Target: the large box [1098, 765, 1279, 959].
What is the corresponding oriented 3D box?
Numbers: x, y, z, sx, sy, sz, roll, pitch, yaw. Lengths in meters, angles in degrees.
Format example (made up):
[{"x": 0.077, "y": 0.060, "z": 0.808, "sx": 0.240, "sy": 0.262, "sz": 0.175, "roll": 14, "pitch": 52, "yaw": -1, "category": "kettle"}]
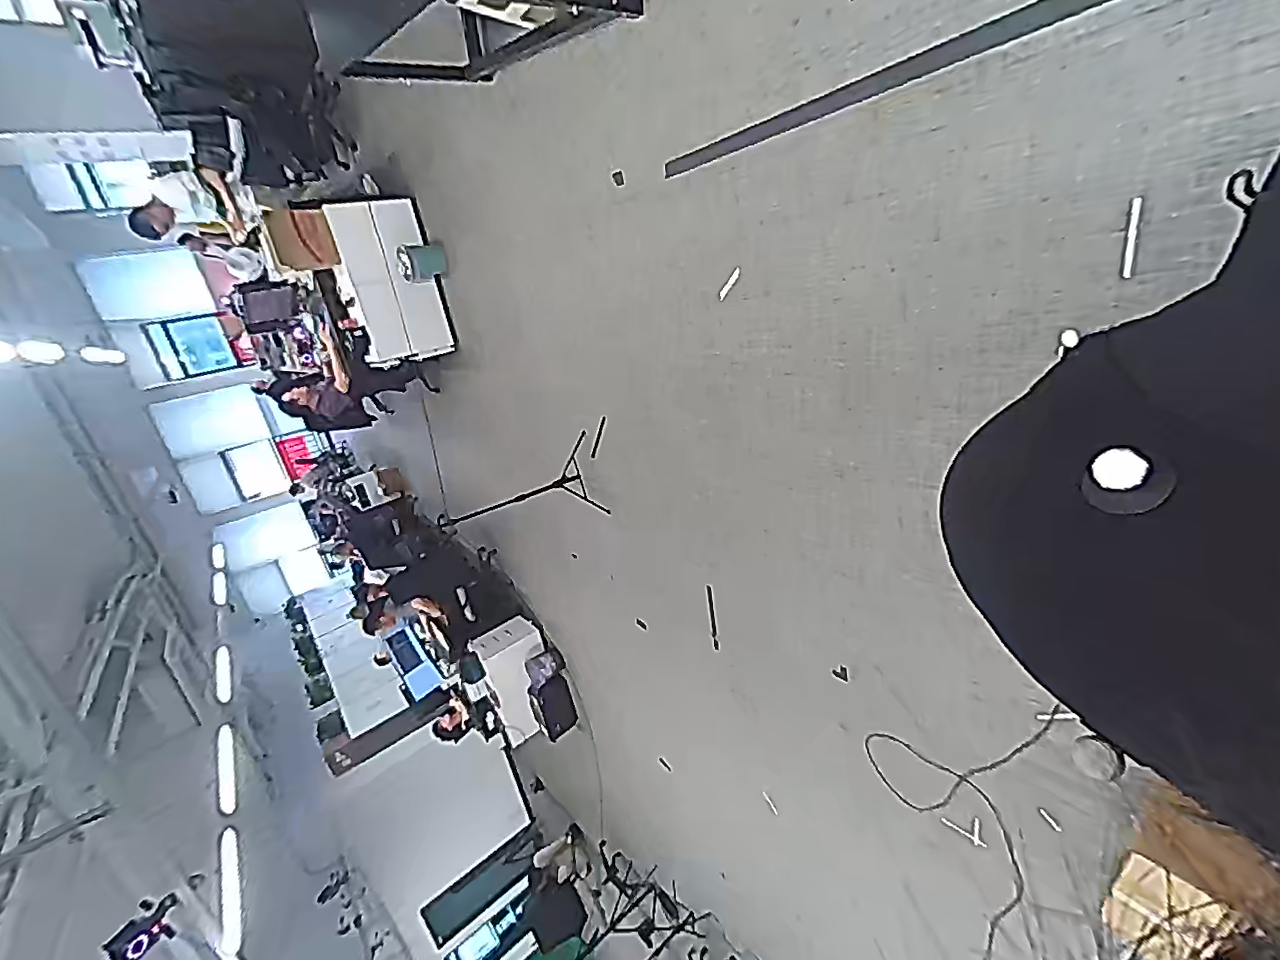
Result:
[{"x": 1.377, "y": 0.966, "z": 1.233, "sx": 0.408, "sy": 0.320, "sz": 0.320, "roll": 24, "pitch": 129, "yaw": 45, "category": "large box"}]
